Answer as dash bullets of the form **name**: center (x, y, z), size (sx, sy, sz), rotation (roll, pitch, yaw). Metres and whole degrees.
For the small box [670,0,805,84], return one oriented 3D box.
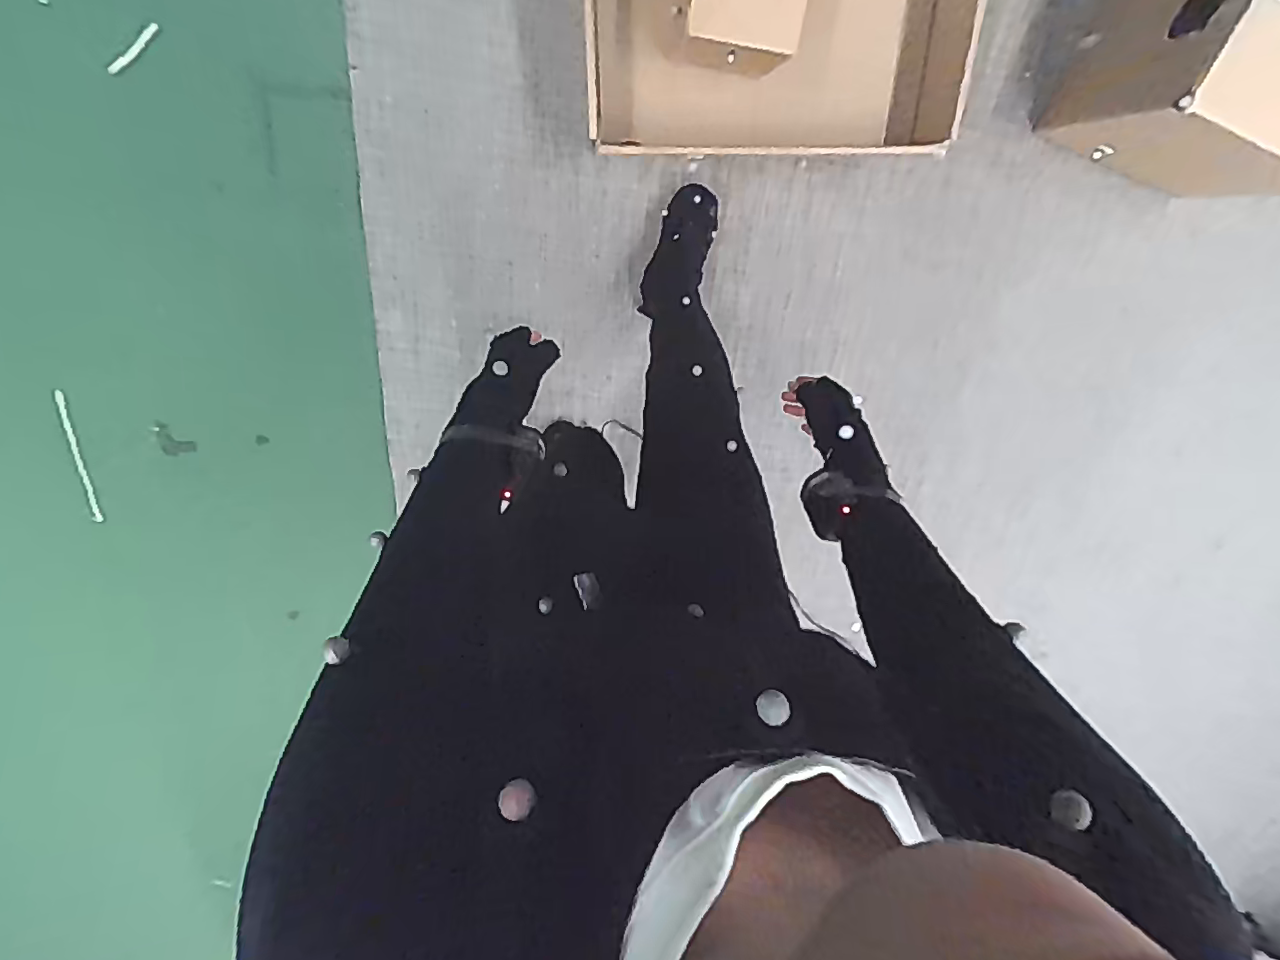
- **small box**: center (0.151, -0.756, 0.860), size (0.179, 0.176, 0.168), rotation (2, 116, -10)
